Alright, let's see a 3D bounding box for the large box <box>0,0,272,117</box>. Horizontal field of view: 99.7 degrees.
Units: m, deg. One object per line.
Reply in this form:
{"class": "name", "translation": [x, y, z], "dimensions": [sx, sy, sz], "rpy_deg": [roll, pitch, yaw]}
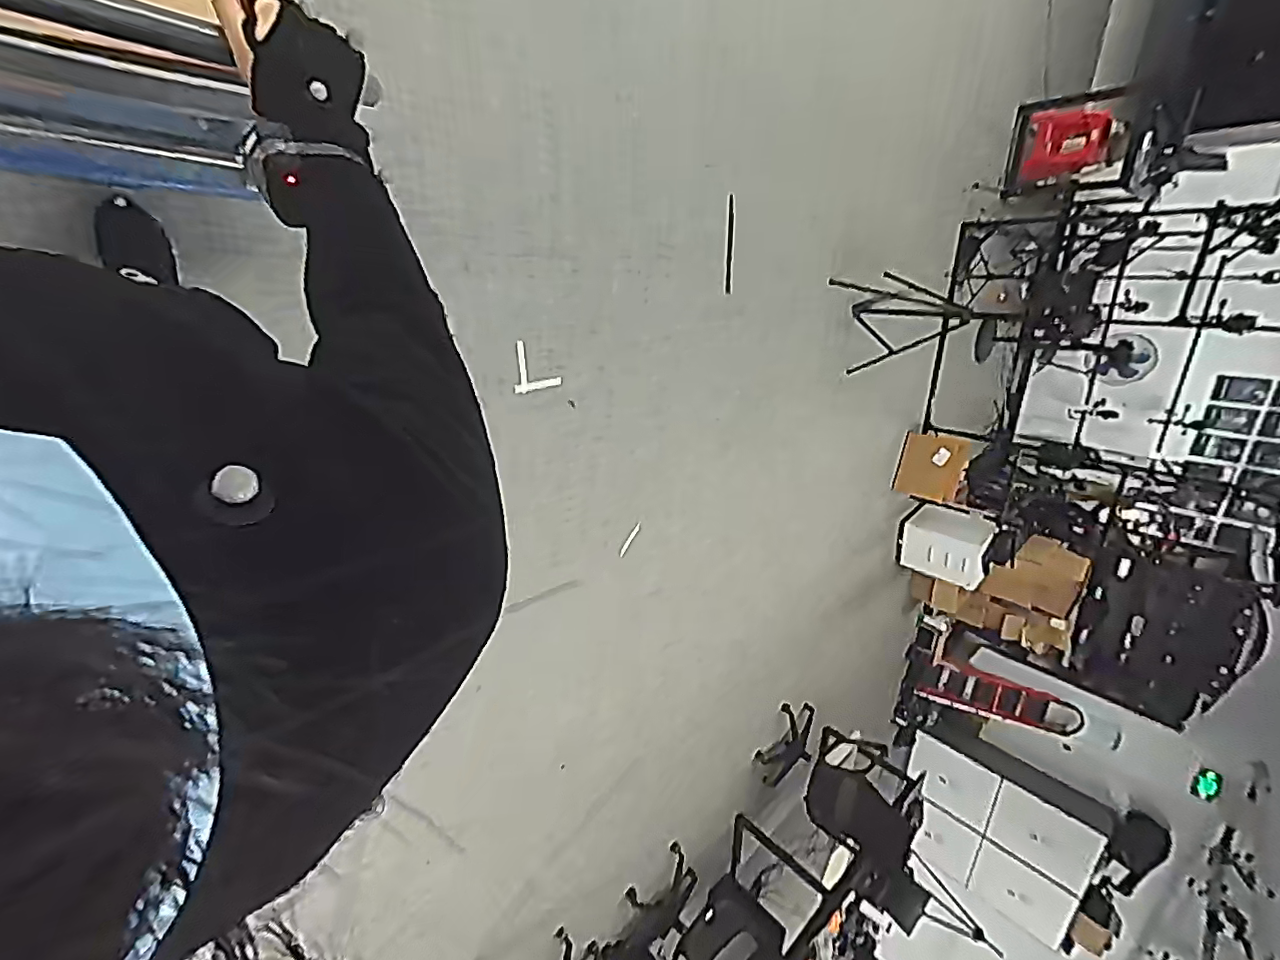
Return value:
{"class": "large box", "translation": [-0.772, -0.701, 0.688], "dimensions": [0.408, 0.320, 0.320], "rpy_deg": [-20, 119, -41]}
